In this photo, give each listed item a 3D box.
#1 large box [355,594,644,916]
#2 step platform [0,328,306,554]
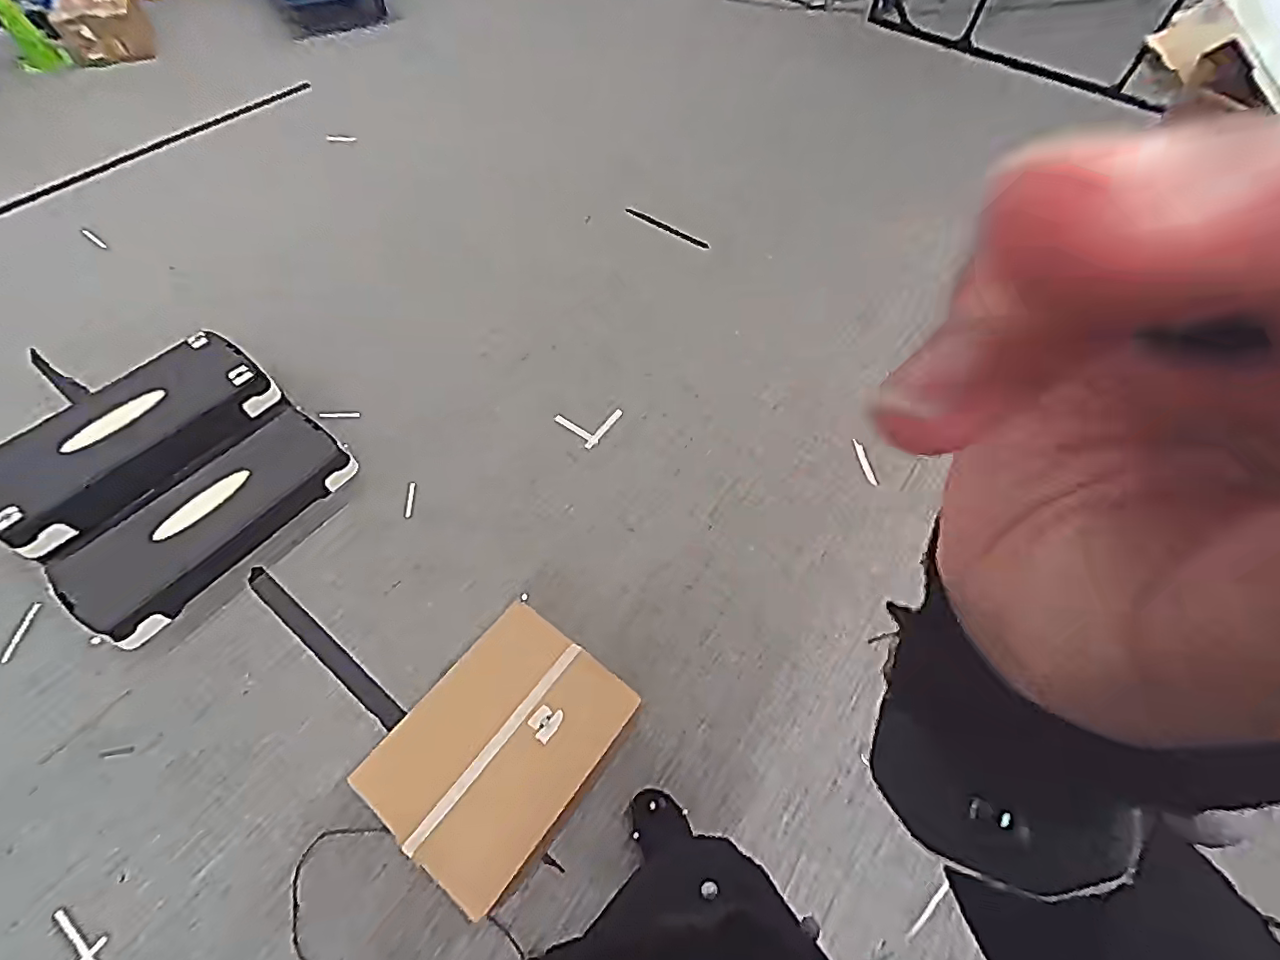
[{"bbox_3d":[-0.234,0.510,1.043,0.320,0.320,0.408,34,62,17],"label":"large box"},{"bbox_3d":[-1.305,-0.126,1.446,0.286,0.204,0.684,39,64,19],"label":"step platform"}]
